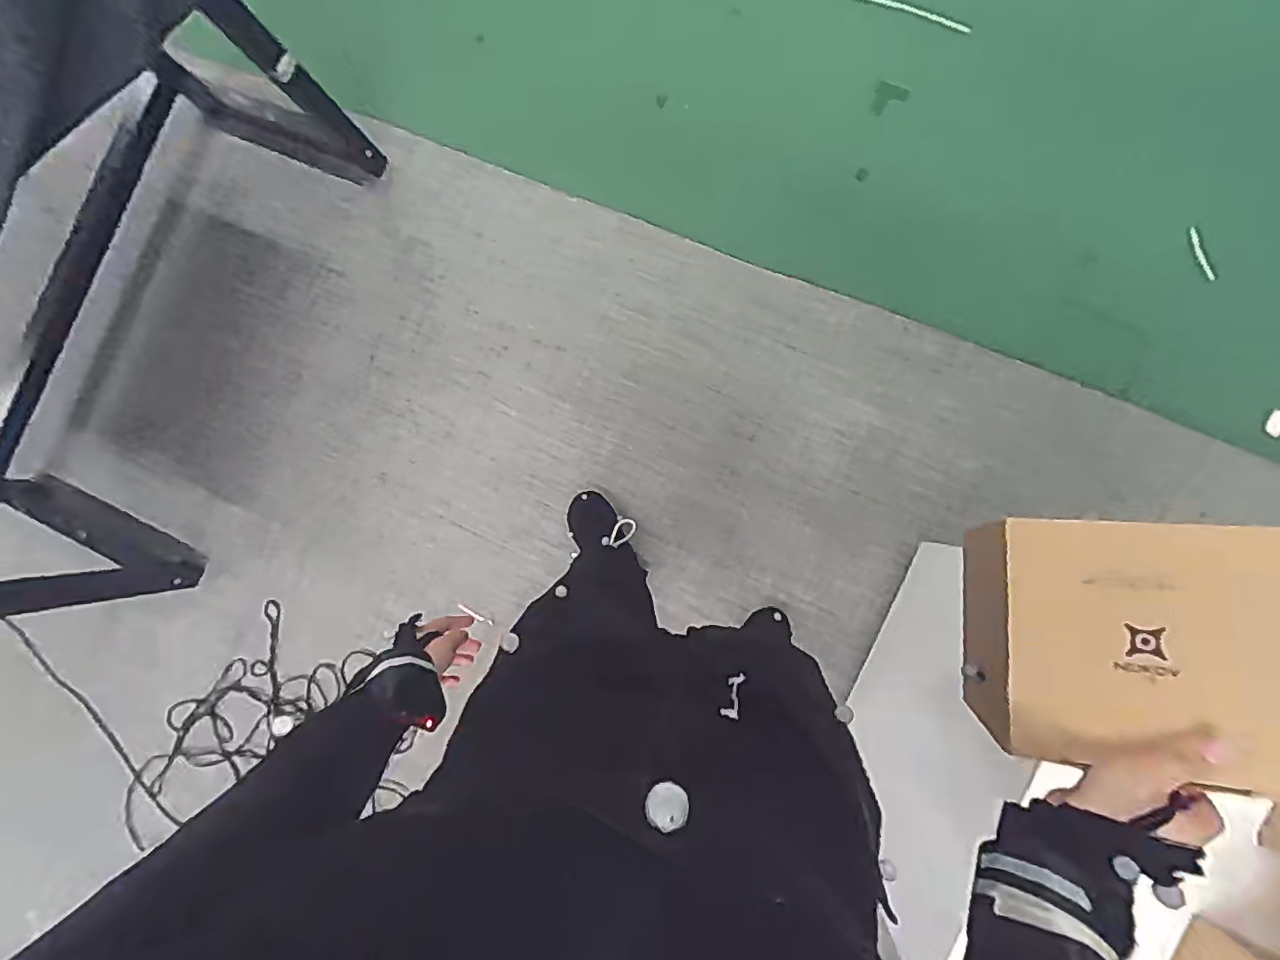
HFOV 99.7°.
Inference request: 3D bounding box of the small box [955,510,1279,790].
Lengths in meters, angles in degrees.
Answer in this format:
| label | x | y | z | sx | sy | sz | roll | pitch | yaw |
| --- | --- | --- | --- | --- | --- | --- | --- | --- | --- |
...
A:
| label | x | y | z | sx | sy | sz | roll | pitch | yaw |
| --- | --- | --- | --- | --- | --- | --- | --- | --- | --- |
| small box | 0.370 | 0.120 | 0.447 | 0.168 | 0.176 | 0.179 | -1 | 81 | 20 |
